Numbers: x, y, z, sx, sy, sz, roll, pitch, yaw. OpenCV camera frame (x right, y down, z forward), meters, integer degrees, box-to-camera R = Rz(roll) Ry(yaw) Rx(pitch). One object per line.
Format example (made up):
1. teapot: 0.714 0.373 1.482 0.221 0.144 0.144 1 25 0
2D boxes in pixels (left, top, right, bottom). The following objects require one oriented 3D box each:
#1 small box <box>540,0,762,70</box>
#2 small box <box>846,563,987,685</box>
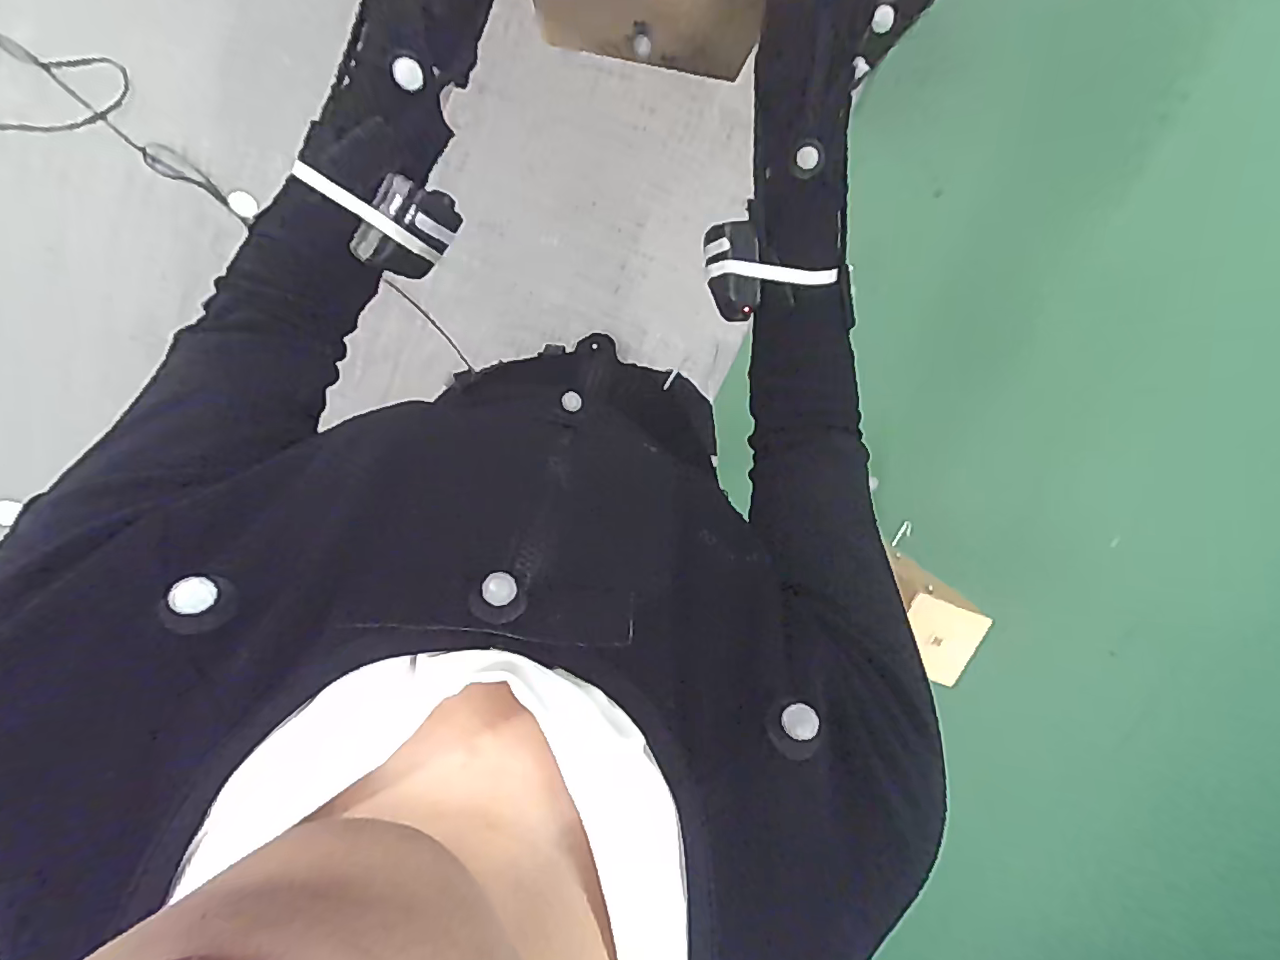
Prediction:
1. small box: 0.014 -0.417 0.352 0.168 0.176 0.179 8 106 -5
2. small box: 0.580 0.300 1.159 0.179 0.176 0.168 21 104 -7
